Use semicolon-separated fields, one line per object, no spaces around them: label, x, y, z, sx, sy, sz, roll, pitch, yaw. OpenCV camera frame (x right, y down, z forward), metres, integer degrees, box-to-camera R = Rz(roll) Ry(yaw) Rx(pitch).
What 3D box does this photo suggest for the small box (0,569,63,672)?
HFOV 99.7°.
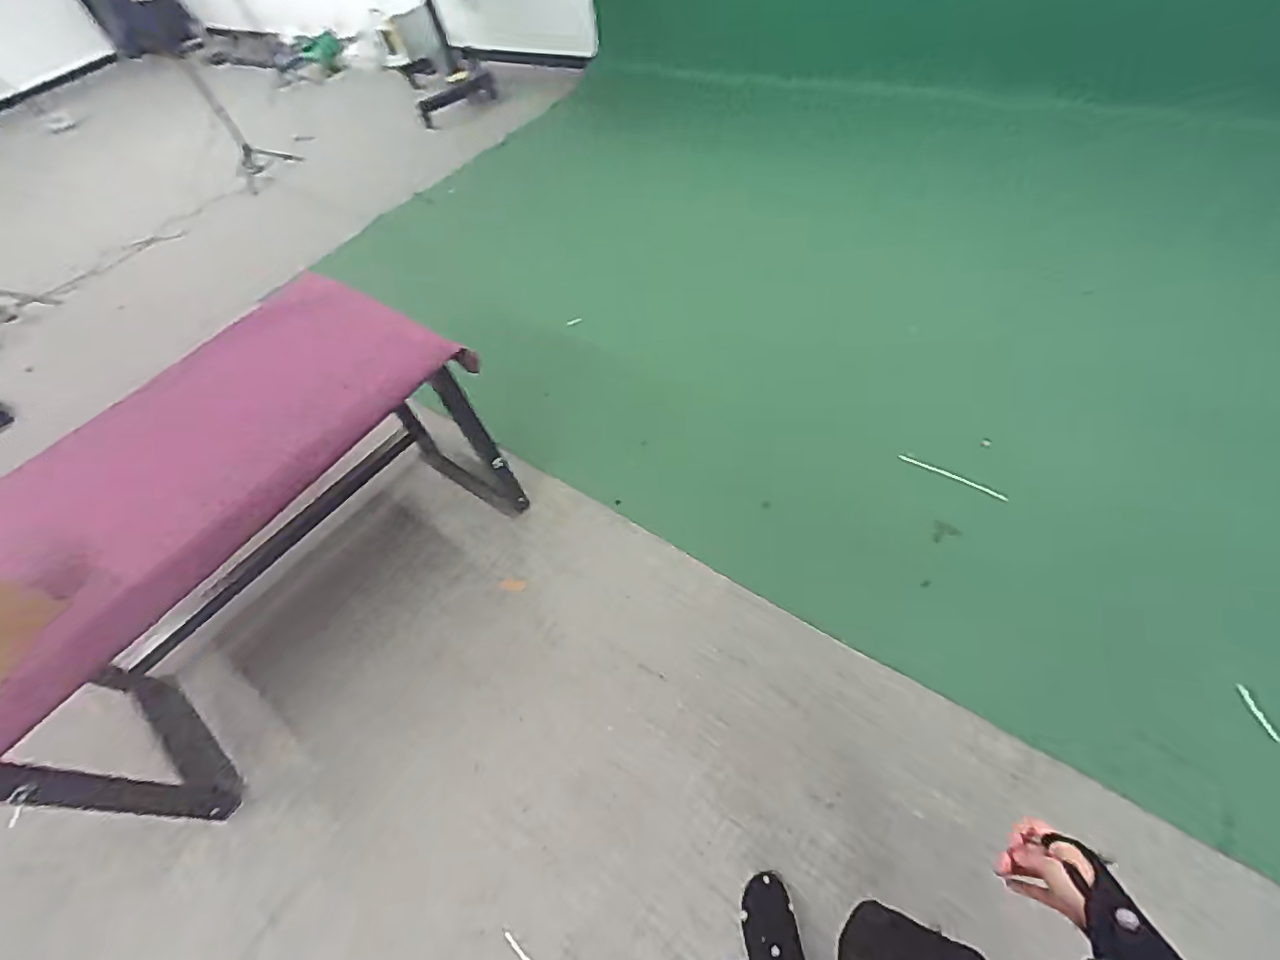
small box;-1.149;0.226;0.897;0.168;0.176;0.179;6;56;15
